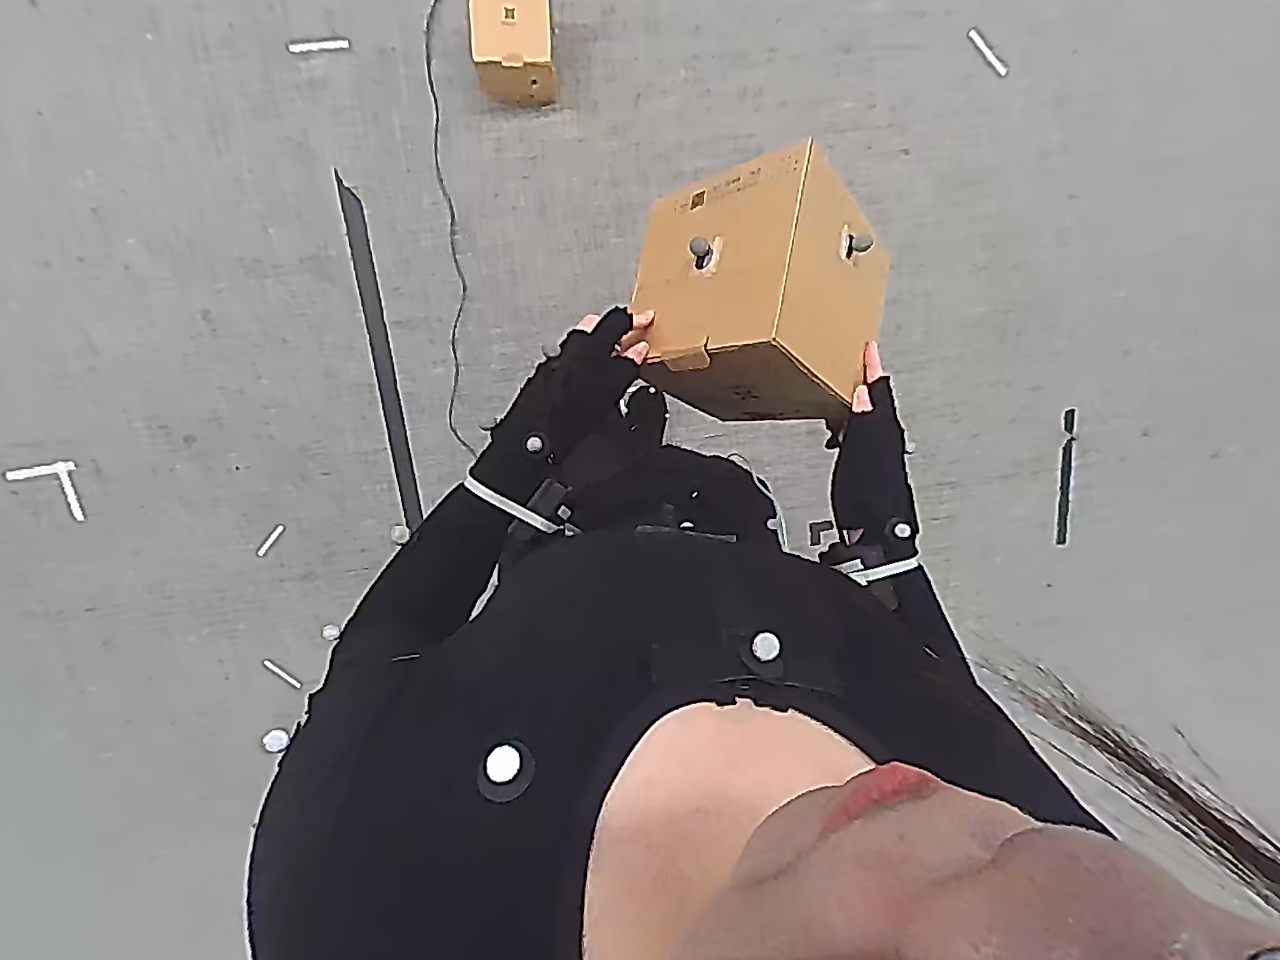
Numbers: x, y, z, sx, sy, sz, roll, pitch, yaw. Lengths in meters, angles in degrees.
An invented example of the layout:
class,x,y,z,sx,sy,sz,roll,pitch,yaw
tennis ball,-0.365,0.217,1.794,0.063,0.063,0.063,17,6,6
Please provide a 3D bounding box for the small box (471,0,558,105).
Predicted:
class,x,y,z,sx,sy,sz,roll,pitch,yaw
small box,-0.272,-0.970,1.205,0.168,0.176,0.179,-1,101,-4

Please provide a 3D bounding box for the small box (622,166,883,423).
class,x,y,z,sx,sy,sz,roll,pitch,yaw
small box,0.112,-0.162,0.512,0.179,0.168,0.176,20,79,-45
